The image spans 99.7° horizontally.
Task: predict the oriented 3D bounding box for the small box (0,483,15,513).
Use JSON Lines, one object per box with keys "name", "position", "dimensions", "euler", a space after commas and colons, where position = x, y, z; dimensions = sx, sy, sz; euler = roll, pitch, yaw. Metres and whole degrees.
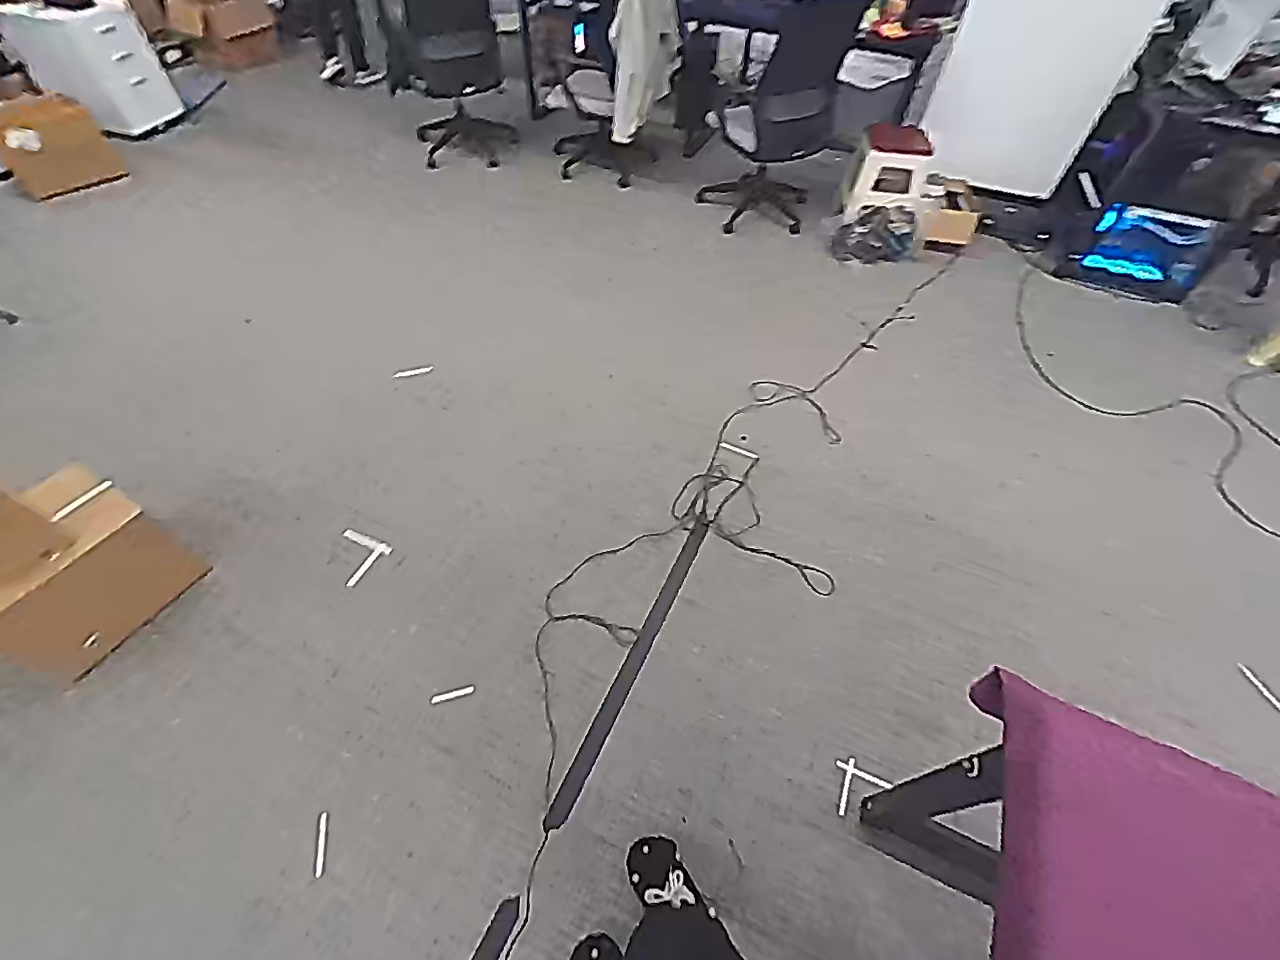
{"name": "small box", "position": [-1.474, 0.016, 1.107], "dimensions": [0.179, 0.176, 0.168], "euler": [26, 55, 16]}
